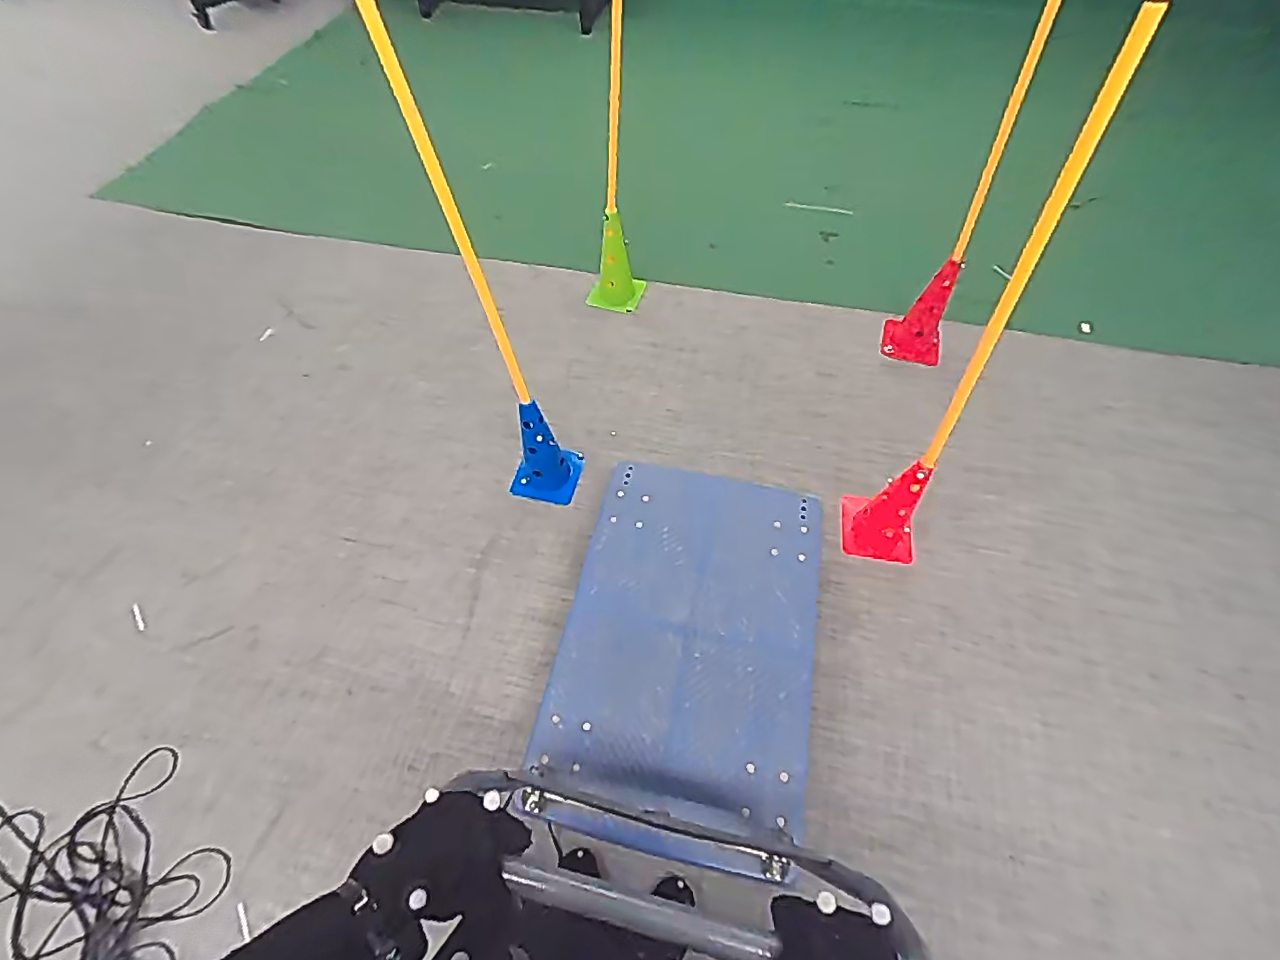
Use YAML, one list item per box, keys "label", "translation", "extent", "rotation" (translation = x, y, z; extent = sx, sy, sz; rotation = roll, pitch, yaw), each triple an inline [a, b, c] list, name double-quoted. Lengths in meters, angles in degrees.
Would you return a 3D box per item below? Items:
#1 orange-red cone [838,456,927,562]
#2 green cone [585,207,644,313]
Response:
- label: "orange-red cone"
  translation: [0.685, 0.053, 1.464]
  extent: [0.199, 0.360, 0.198]
  rotation: [9, 58, 9]
- label: "green cone"
  translation: [-0.105, -0.842, 2.027]
  extent: [0.202, 0.368, 0.200]
  rotation: [14, 59, 10]
